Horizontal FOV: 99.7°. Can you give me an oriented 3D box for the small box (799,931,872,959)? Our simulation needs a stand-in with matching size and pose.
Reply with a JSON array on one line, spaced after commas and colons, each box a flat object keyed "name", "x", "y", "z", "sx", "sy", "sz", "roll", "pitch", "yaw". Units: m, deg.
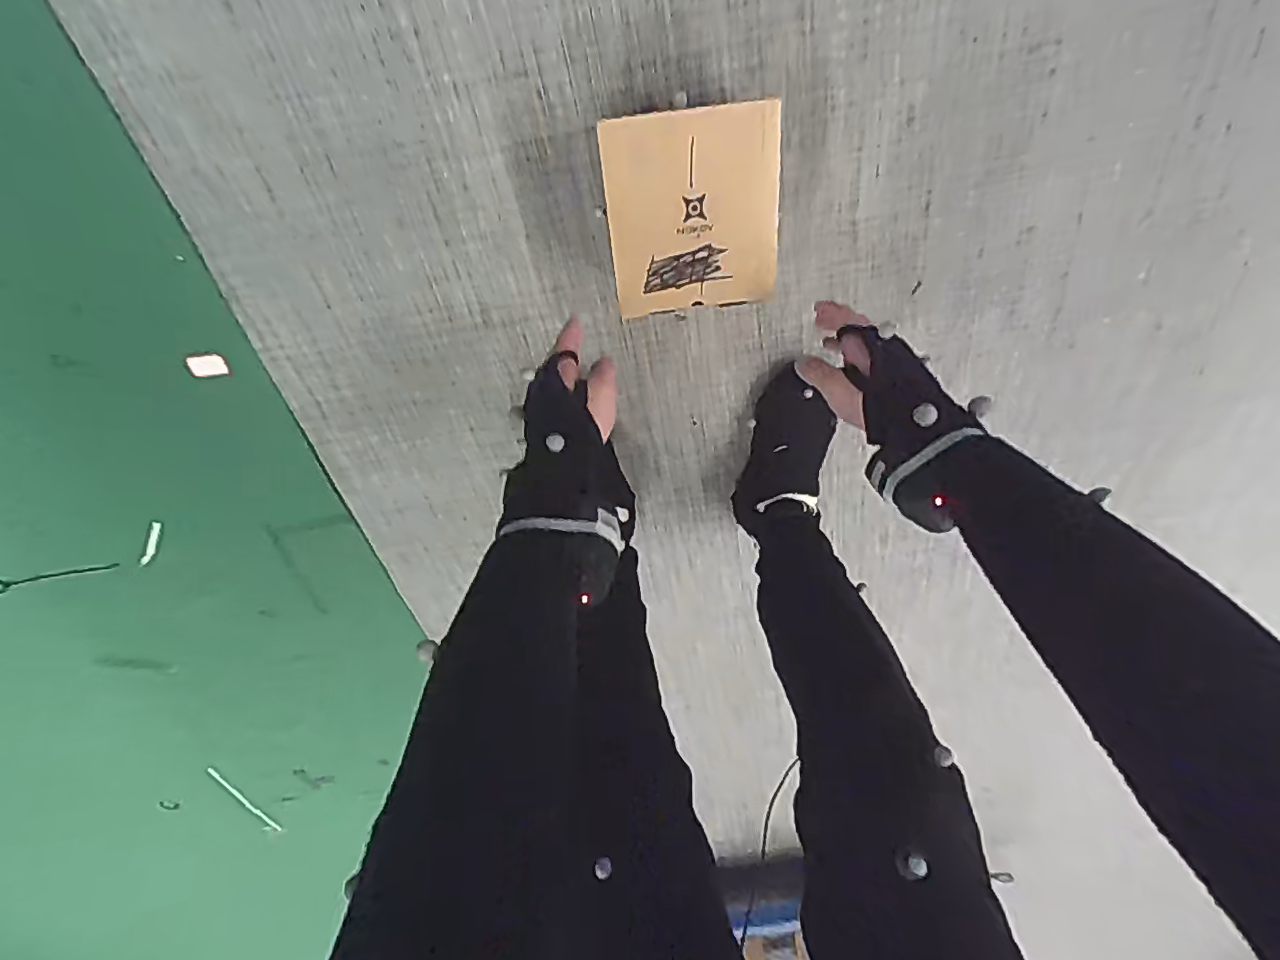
[{"name": "small box", "x": 0.541, "y": 1.348, "z": 1.453, "sx": 0.179, "sy": 0.176, "sz": 0.168, "roll": -8, "pitch": 122, "yaw": 2}]

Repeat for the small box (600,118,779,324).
[{"name": "small box", "x": 0.049, "y": -0.291, "z": 0.603, "sx": 0.168, "sy": 0.176, "sz": 0.179, "roll": -7, "pitch": 122, "yaw": 0}]

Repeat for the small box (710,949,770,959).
[{"name": "small box", "x": 0.289, "y": 1.411, "z": 1.473, "sx": 0.168, "sy": 0.176, "sz": 0.179, "roll": -10, "pitch": 123, "yaw": 3}]
